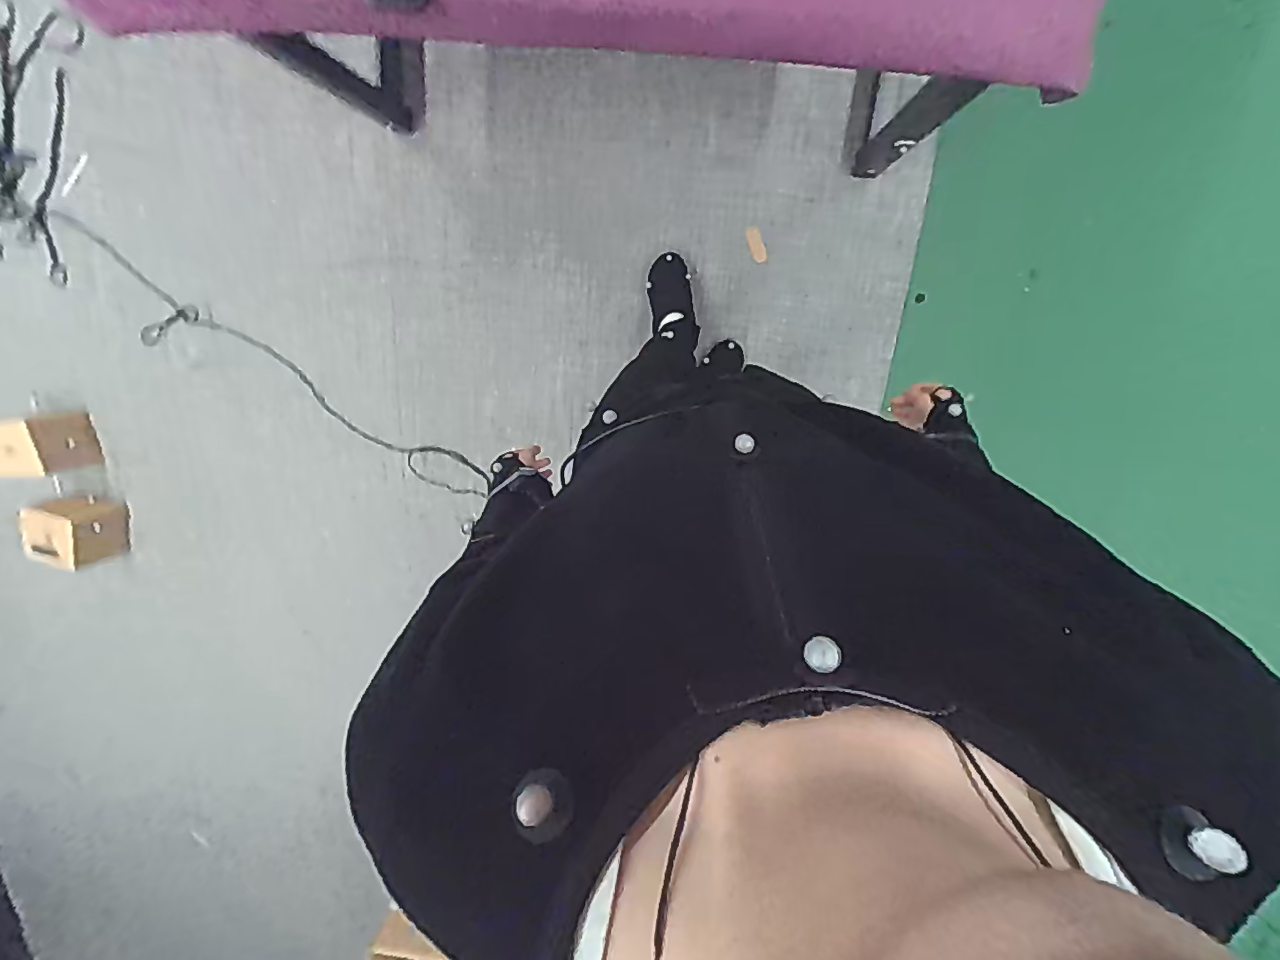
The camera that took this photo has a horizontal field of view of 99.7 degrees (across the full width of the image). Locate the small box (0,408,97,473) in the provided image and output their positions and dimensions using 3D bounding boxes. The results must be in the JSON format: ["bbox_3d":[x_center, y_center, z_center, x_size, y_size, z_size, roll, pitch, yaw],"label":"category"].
[{"bbox_3d":[-1.781,-0.122,1.608,0.179,0.176,0.168,0,107,7],"label":"small box"}]
